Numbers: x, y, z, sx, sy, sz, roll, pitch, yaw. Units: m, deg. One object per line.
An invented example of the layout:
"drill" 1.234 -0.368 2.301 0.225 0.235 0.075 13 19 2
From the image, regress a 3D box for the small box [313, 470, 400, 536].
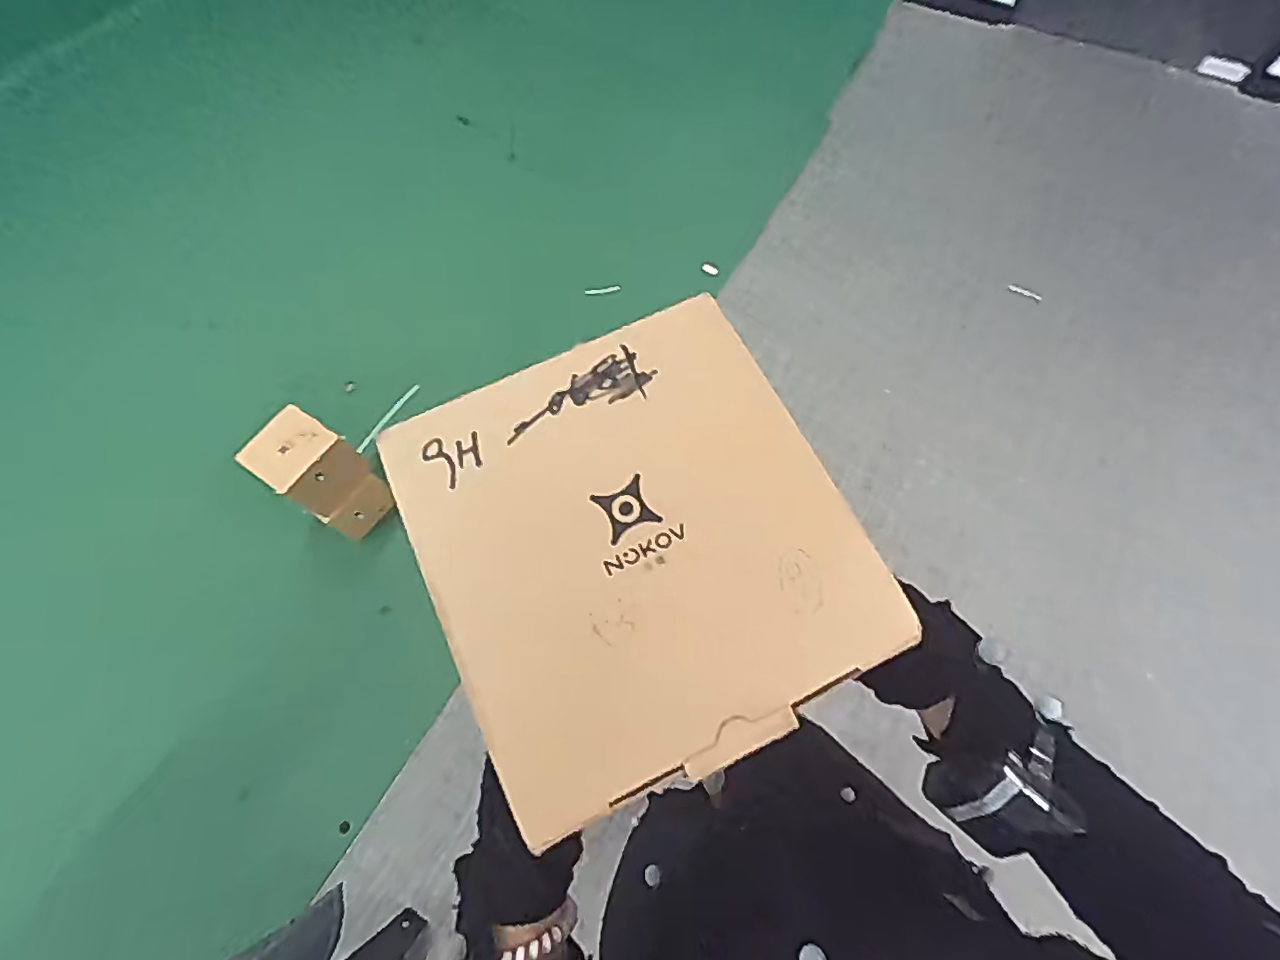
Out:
"small box" -0.791 0.034 1.463 0.179 0.176 0.168 33 71 14

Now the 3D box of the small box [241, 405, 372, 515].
"small box" -0.799 -0.042 1.317 0.168 0.176 0.179 32 70 14

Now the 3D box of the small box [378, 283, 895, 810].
"small box" -0.006 0.036 0.300 0.168 0.176 0.179 -24 73 -8
